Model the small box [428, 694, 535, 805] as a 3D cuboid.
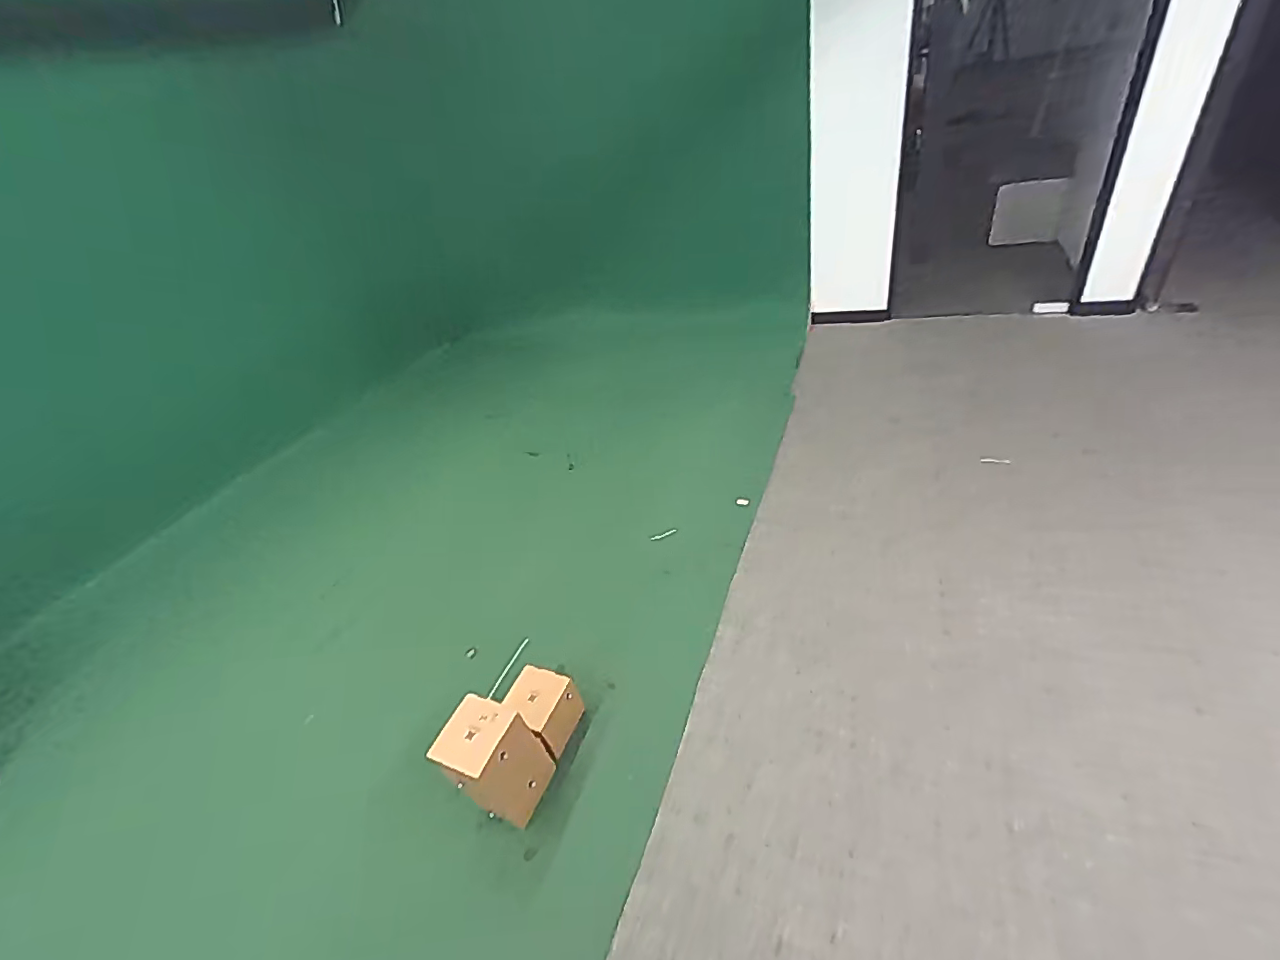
[{"bbox_3d":[-0.392,0.687,1.376,0.168,0.176,0.179,8,42,25],"label":"small box"}]
